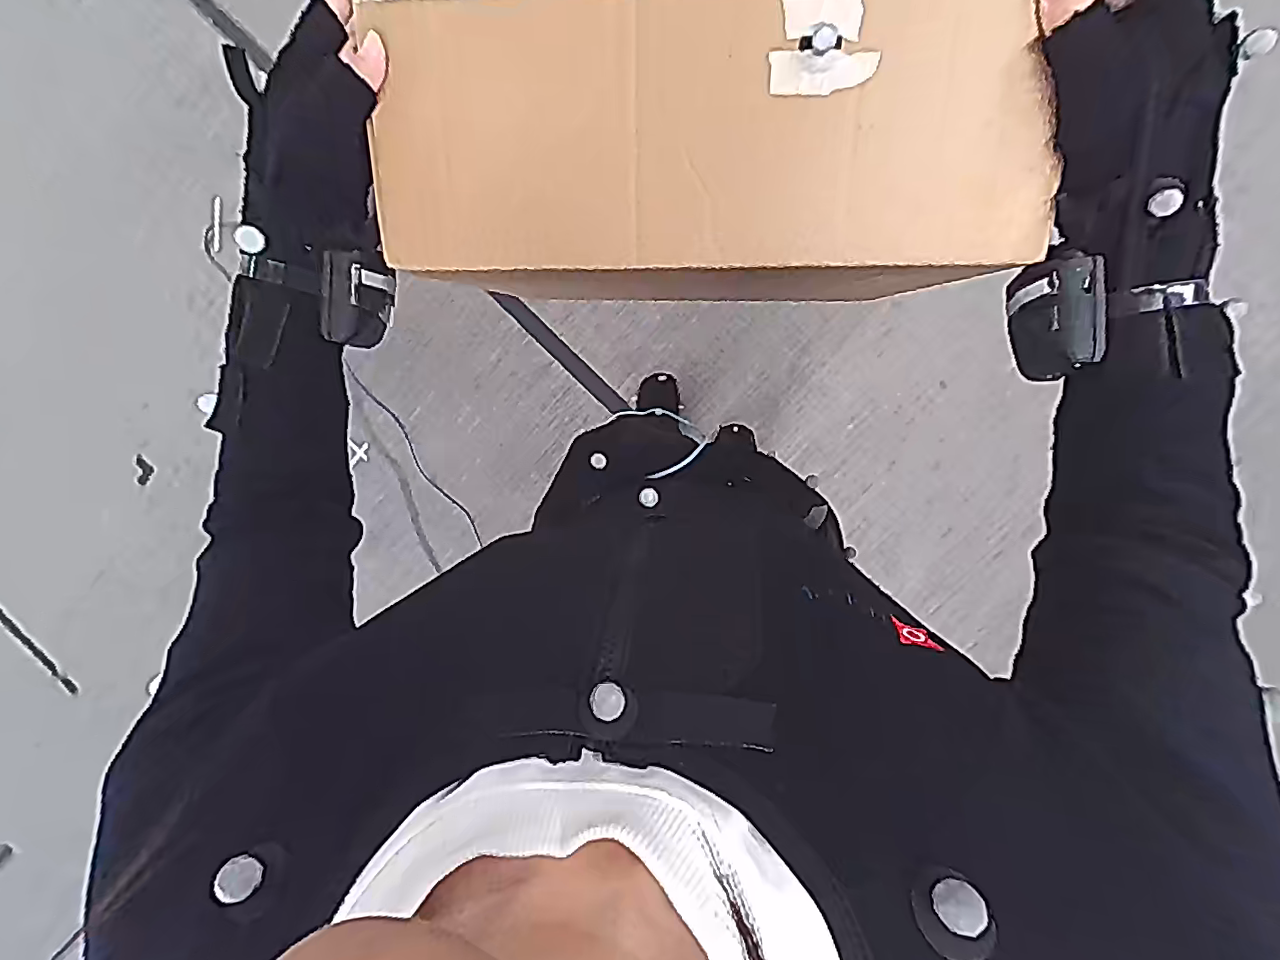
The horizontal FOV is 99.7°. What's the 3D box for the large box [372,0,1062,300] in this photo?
[{"bbox_3d":[0.046,-0.329,0.452,0.408,0.320,0.320,0,105,5],"label":"large box"}]
